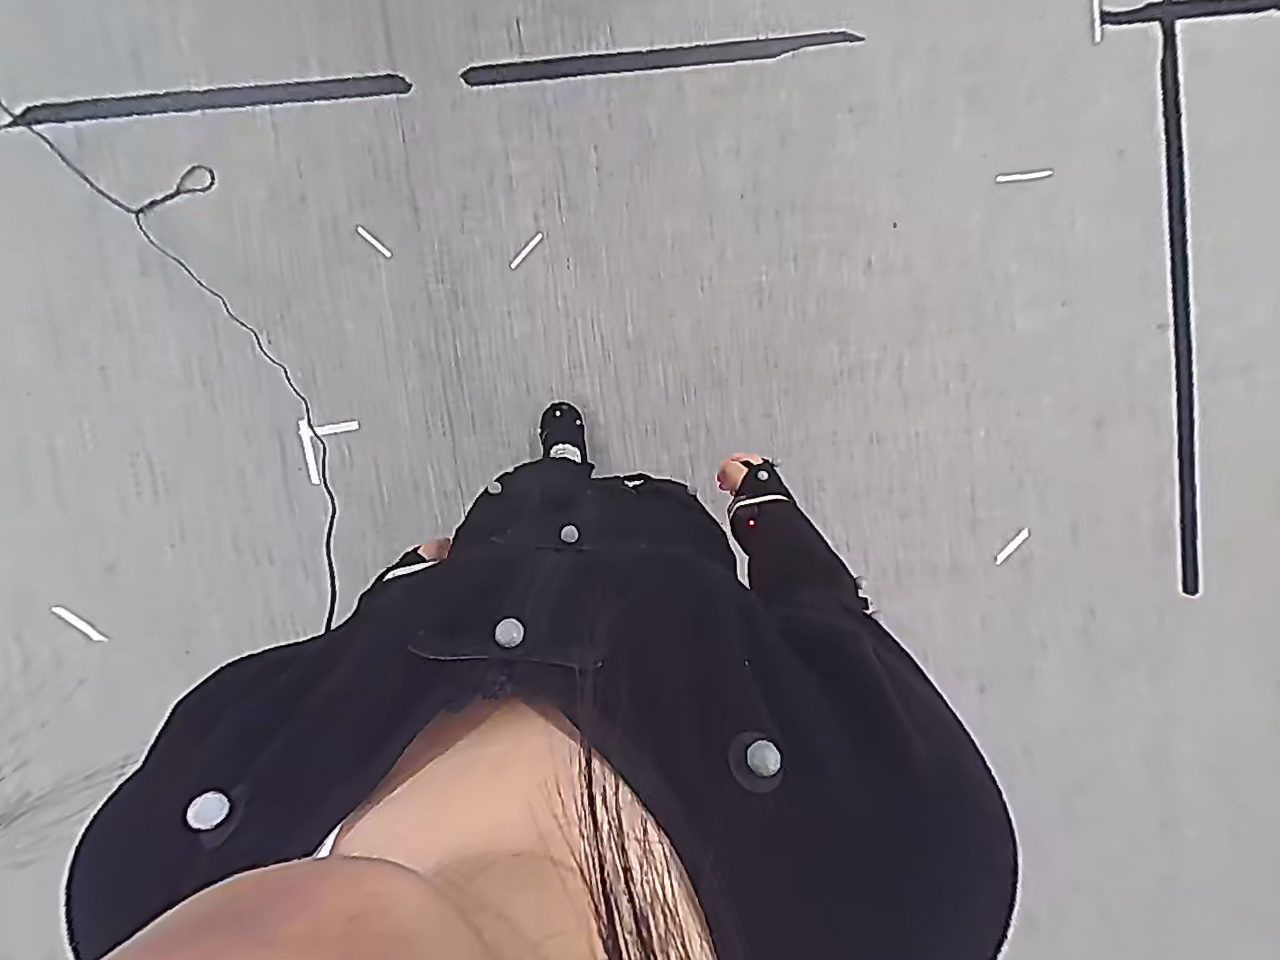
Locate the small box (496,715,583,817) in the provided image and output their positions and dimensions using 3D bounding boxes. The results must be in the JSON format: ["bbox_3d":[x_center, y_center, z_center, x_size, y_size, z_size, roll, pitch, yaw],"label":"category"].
[{"bbox_3d":[-0.235,0.689,1.302,0.168,0.176,0.179,-10,96,0],"label":"small box"}]

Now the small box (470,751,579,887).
[{"bbox_3d":[-0.235,0.704,1.141,0.179,0.176,0.168,-10,94,0],"label":"small box"}]

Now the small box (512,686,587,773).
[{"bbox_3d":[-0.238,0.676,1.464,0.168,0.176,0.179,-9,95,-1],"label":"small box"}]
